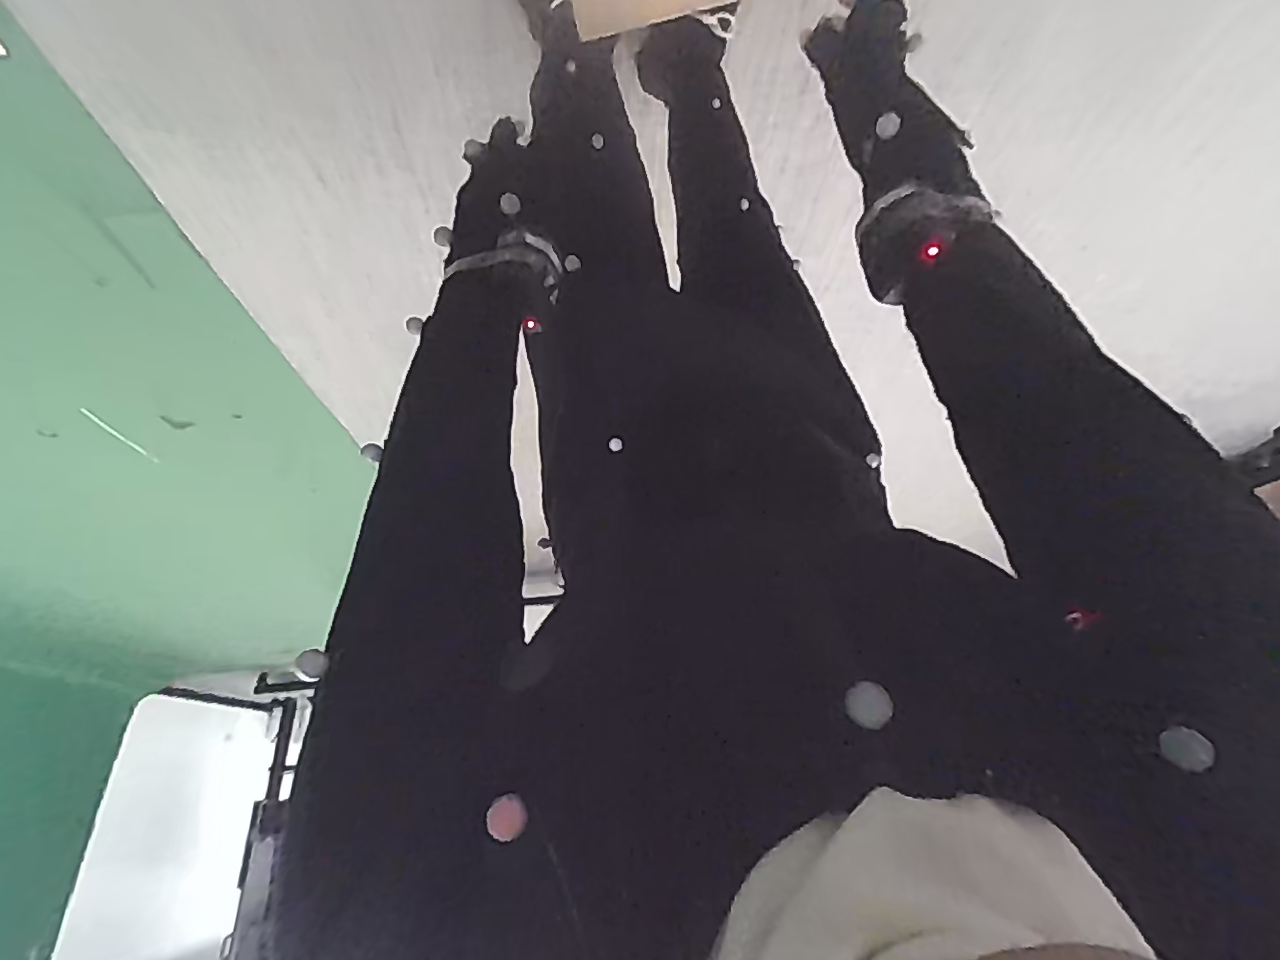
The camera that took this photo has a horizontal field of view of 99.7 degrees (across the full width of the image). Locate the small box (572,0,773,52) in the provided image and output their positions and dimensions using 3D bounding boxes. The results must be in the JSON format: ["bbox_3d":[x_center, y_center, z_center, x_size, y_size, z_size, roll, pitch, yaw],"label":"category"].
[{"bbox_3d":[0.013,-0.512,0.454,0.179,0.176,0.168,-8,150,7],"label":"small box"}]
